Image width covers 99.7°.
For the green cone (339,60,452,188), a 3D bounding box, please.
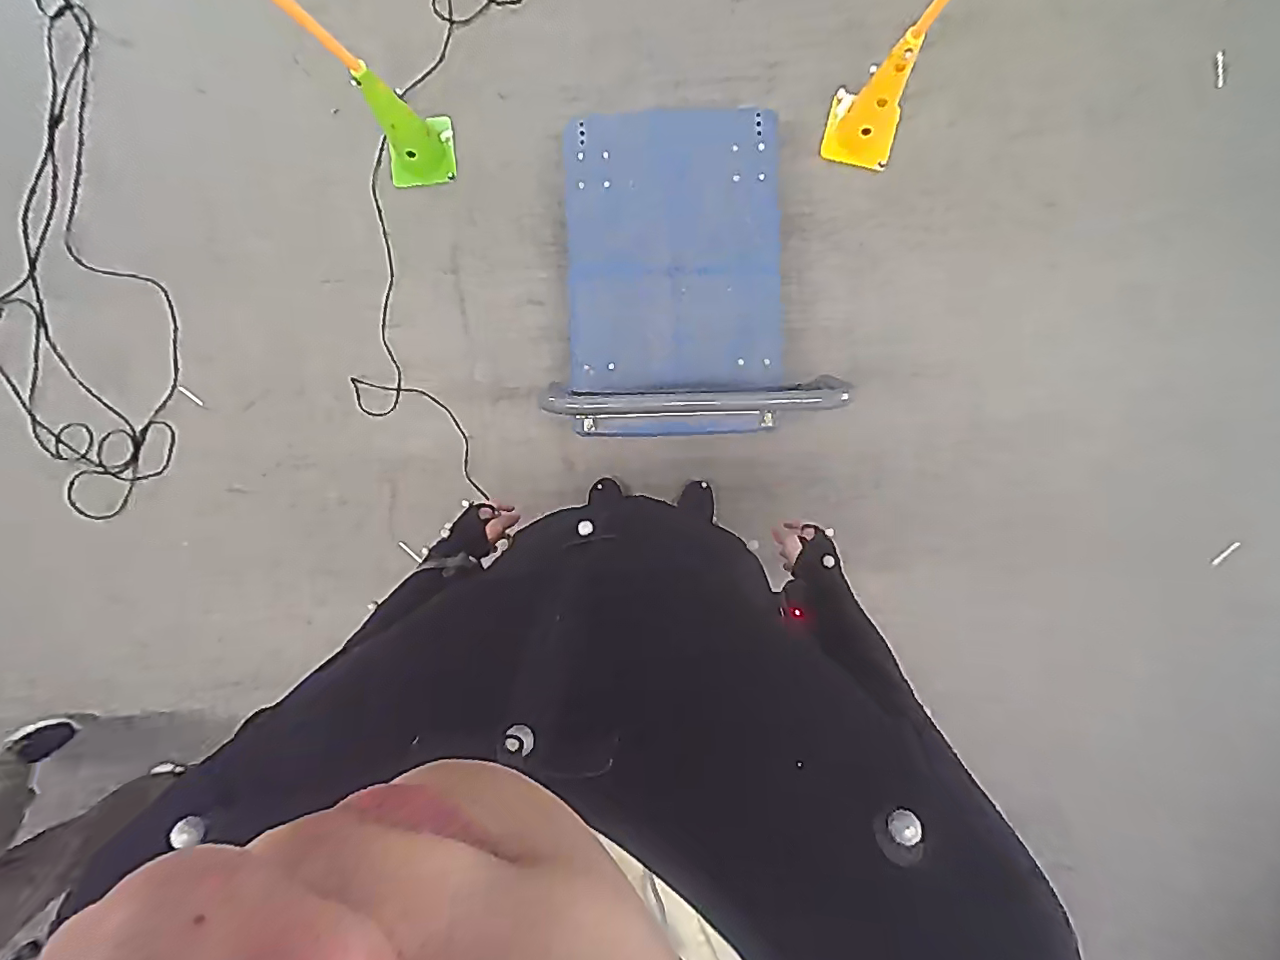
[{"bbox_3d":[-0.692,-1.005,1.486,0.202,0.368,0.200,-7,90,4],"label":"green cone"}]
